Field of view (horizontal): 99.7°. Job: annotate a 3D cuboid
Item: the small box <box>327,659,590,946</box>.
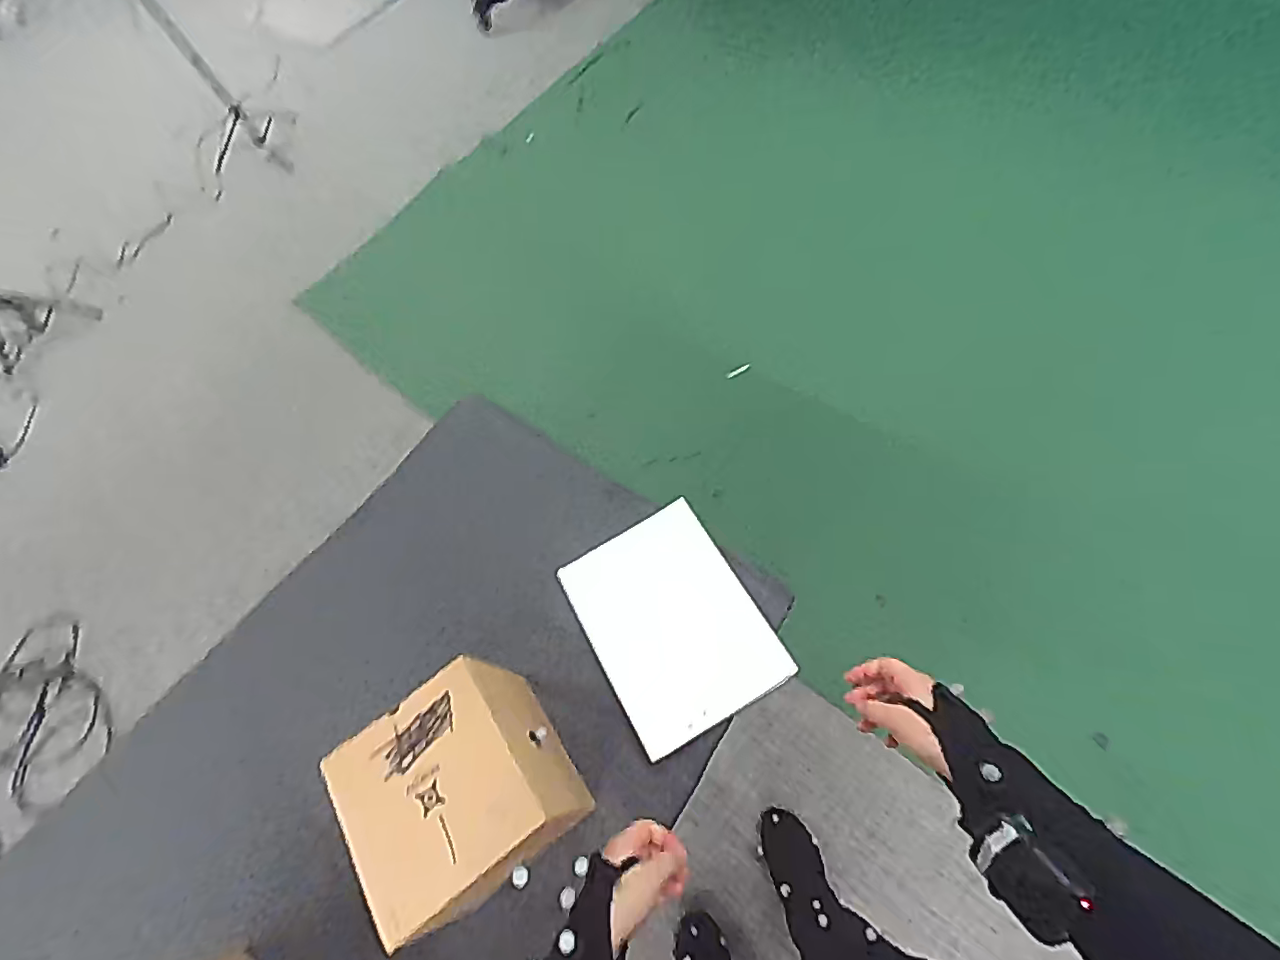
[{"bbox_3d":[-0.179,0.322,0.569,0.168,0.176,0.179,-37,63,-8],"label":"small box"}]
